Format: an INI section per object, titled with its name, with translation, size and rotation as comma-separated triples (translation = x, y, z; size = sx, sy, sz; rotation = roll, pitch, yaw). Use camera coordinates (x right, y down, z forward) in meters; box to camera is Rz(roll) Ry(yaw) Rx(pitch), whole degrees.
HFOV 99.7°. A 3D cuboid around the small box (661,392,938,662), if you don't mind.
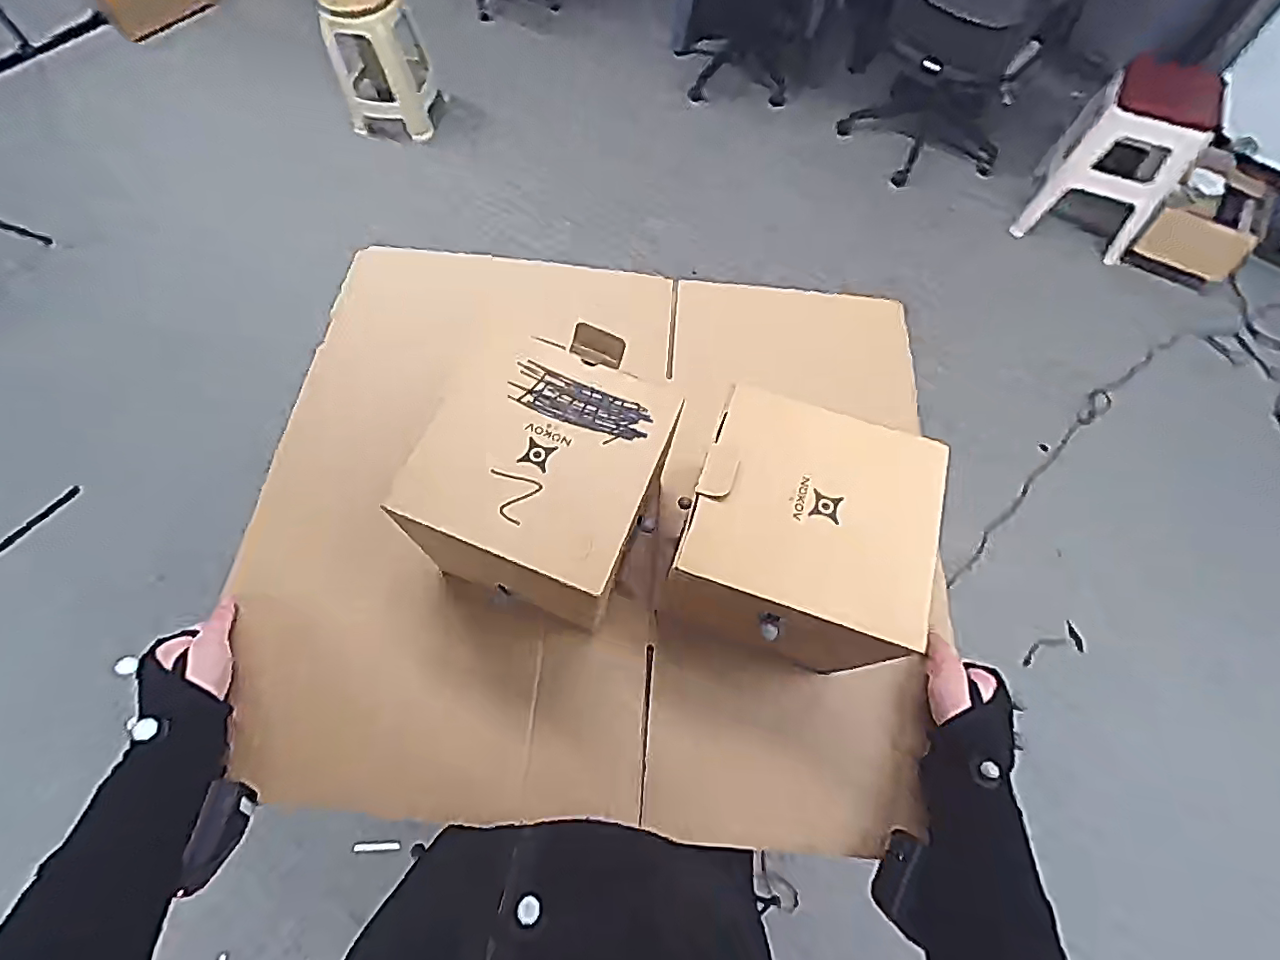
[small box]
translation = 0.128, 0.054, 0.483
size = 0.179, 0.176, 0.168
rotation = 18, 67, 5
